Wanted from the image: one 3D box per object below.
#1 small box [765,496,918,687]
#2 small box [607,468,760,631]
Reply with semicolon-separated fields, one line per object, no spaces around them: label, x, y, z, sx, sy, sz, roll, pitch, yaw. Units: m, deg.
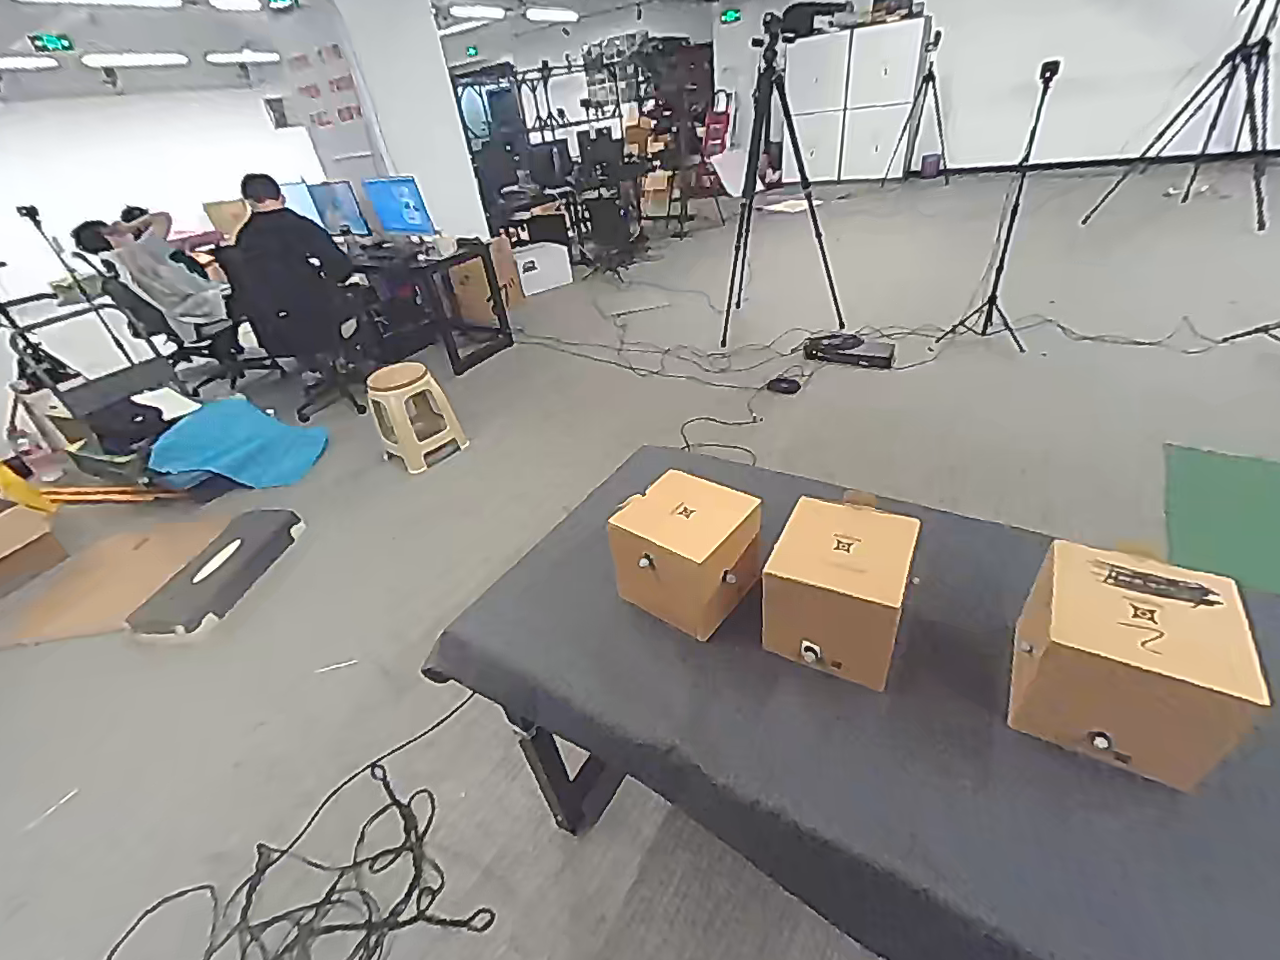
small box;0.280;0.151;0.763;0.168;0.176;0.179;12;39;28
small box;0.074;0.111;0.860;0.179;0.176;0.168;21;43;35
